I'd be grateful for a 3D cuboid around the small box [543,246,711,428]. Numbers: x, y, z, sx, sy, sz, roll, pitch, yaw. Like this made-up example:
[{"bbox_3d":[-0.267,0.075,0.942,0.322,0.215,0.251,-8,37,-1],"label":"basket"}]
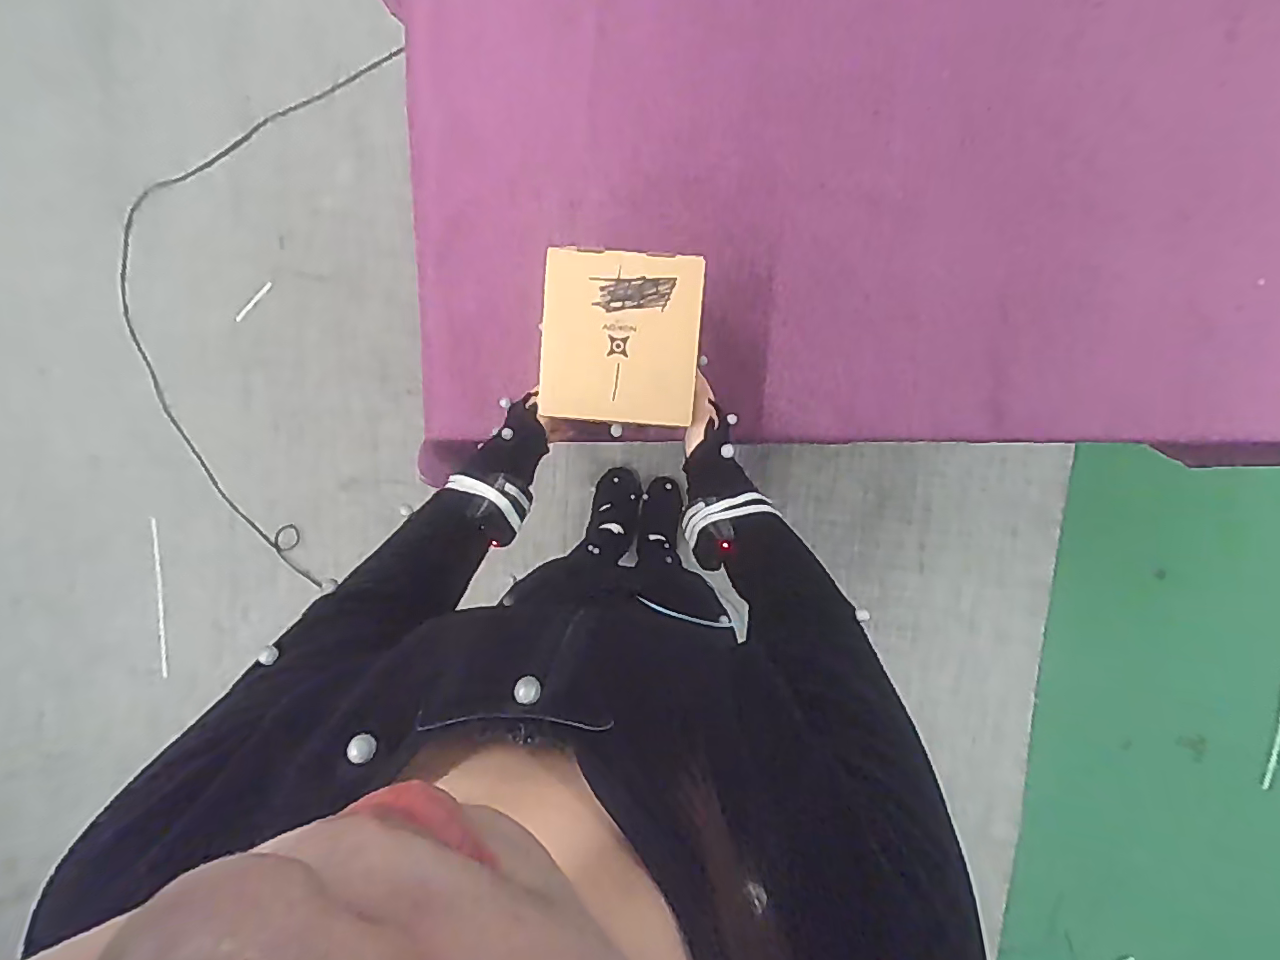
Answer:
[{"bbox_3d":[-0.013,-0.158,0.644,0.168,0.176,0.179,5,98,2],"label":"small box"}]
